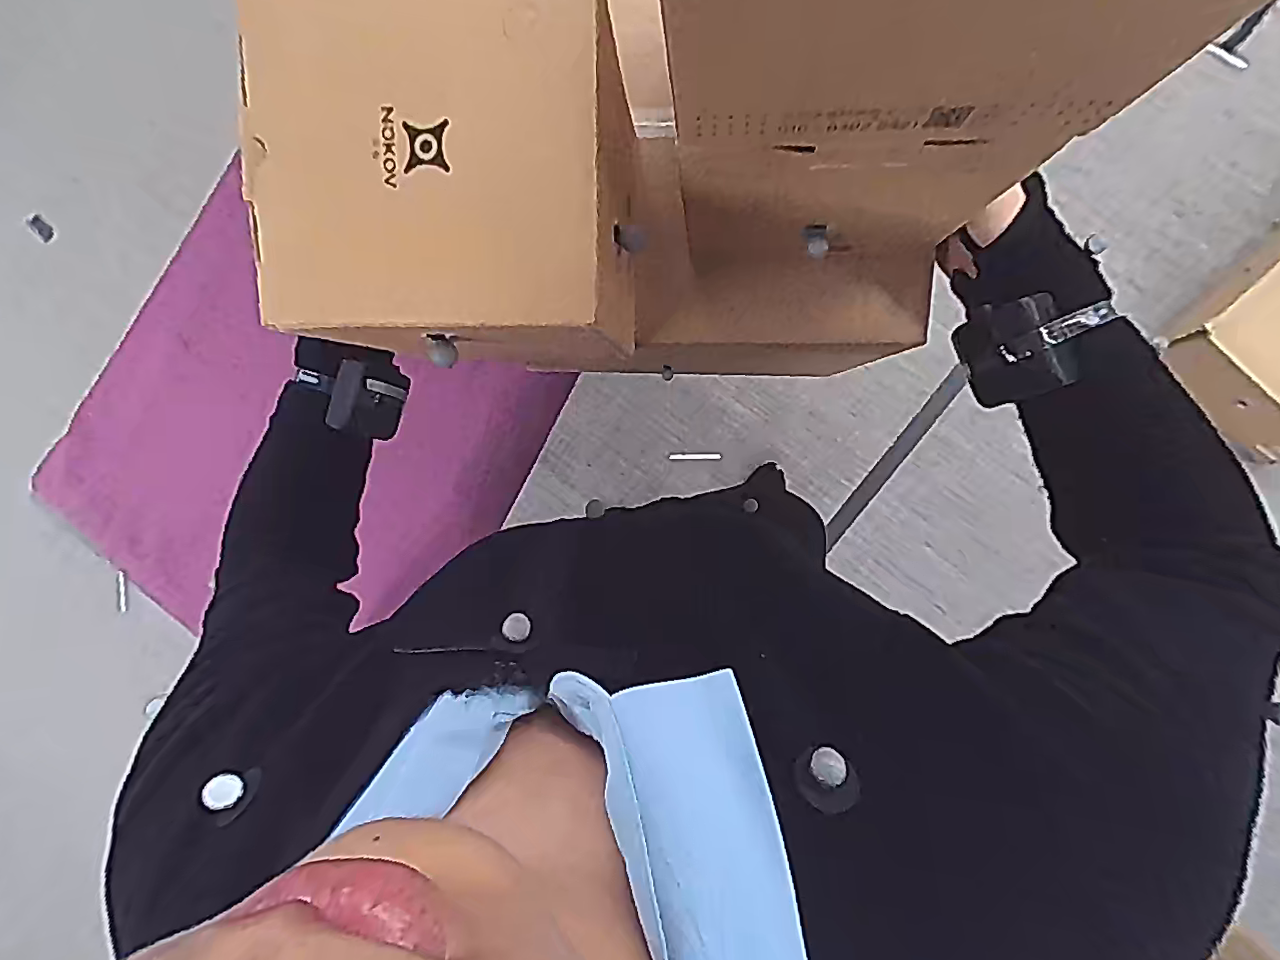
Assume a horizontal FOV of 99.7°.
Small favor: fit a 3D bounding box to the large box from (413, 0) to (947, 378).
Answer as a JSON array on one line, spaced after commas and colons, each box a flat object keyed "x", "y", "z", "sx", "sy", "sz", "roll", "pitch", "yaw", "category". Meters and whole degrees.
[{"x": 0.042, "y": -0.271, "z": 0.546, "sx": 0.408, "sy": 0.320, "sz": 0.320, "roll": 1, "pitch": 95, "yaw": 8, "category": "large box"}]

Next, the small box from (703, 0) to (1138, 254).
[{"x": 0.121, "y": -0.239, "z": 0.291, "sx": 0.168, "sy": 0.176, "sz": 0.179, "roll": 3, "pitch": 97, "yaw": 7, "category": "small box"}]
